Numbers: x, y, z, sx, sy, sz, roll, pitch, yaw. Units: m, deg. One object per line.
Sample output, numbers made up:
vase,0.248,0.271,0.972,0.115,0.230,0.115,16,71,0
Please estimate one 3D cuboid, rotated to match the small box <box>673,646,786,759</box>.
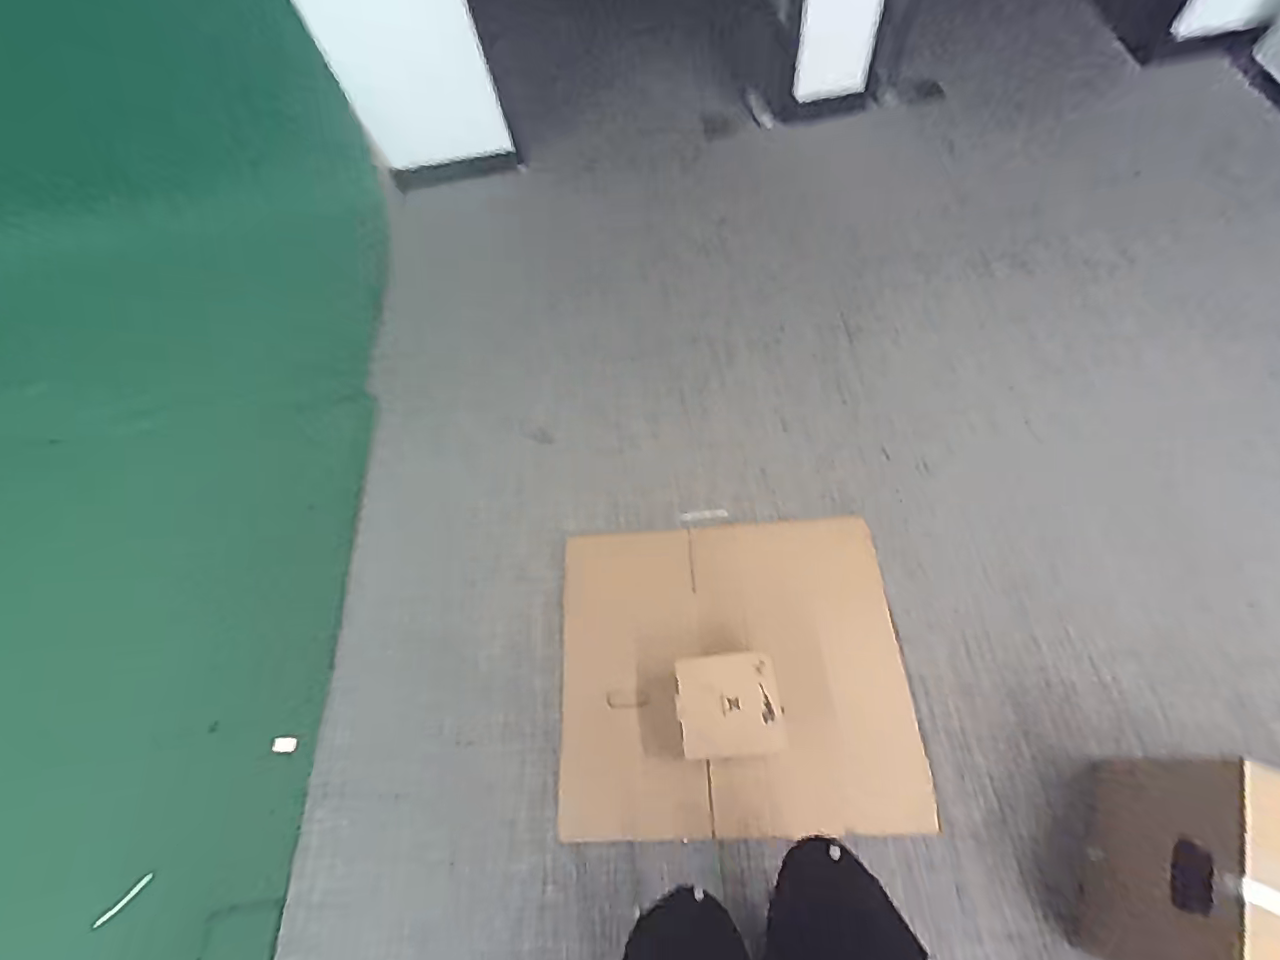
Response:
small box,0.166,0.424,1.018,0.179,0.176,0.168,-9,61,4
